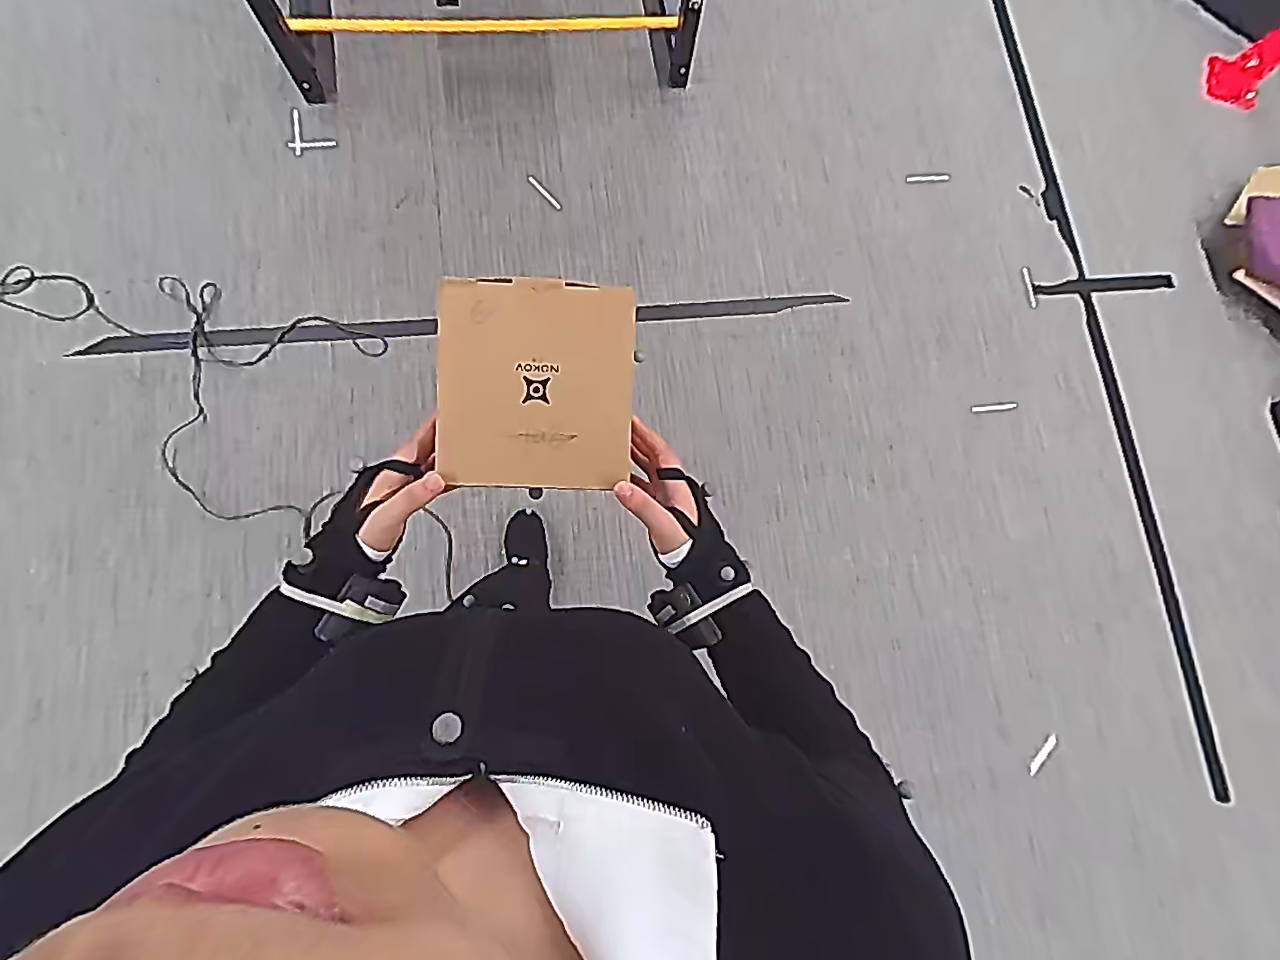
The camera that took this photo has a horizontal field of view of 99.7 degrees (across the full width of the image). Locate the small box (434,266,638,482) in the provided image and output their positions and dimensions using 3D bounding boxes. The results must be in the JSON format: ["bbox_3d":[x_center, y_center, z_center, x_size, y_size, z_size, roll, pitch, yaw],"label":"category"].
[{"bbox_3d":[-0.094,-0.089,0.535,0.168,0.176,0.179,2,92,-4],"label":"small box"}]
